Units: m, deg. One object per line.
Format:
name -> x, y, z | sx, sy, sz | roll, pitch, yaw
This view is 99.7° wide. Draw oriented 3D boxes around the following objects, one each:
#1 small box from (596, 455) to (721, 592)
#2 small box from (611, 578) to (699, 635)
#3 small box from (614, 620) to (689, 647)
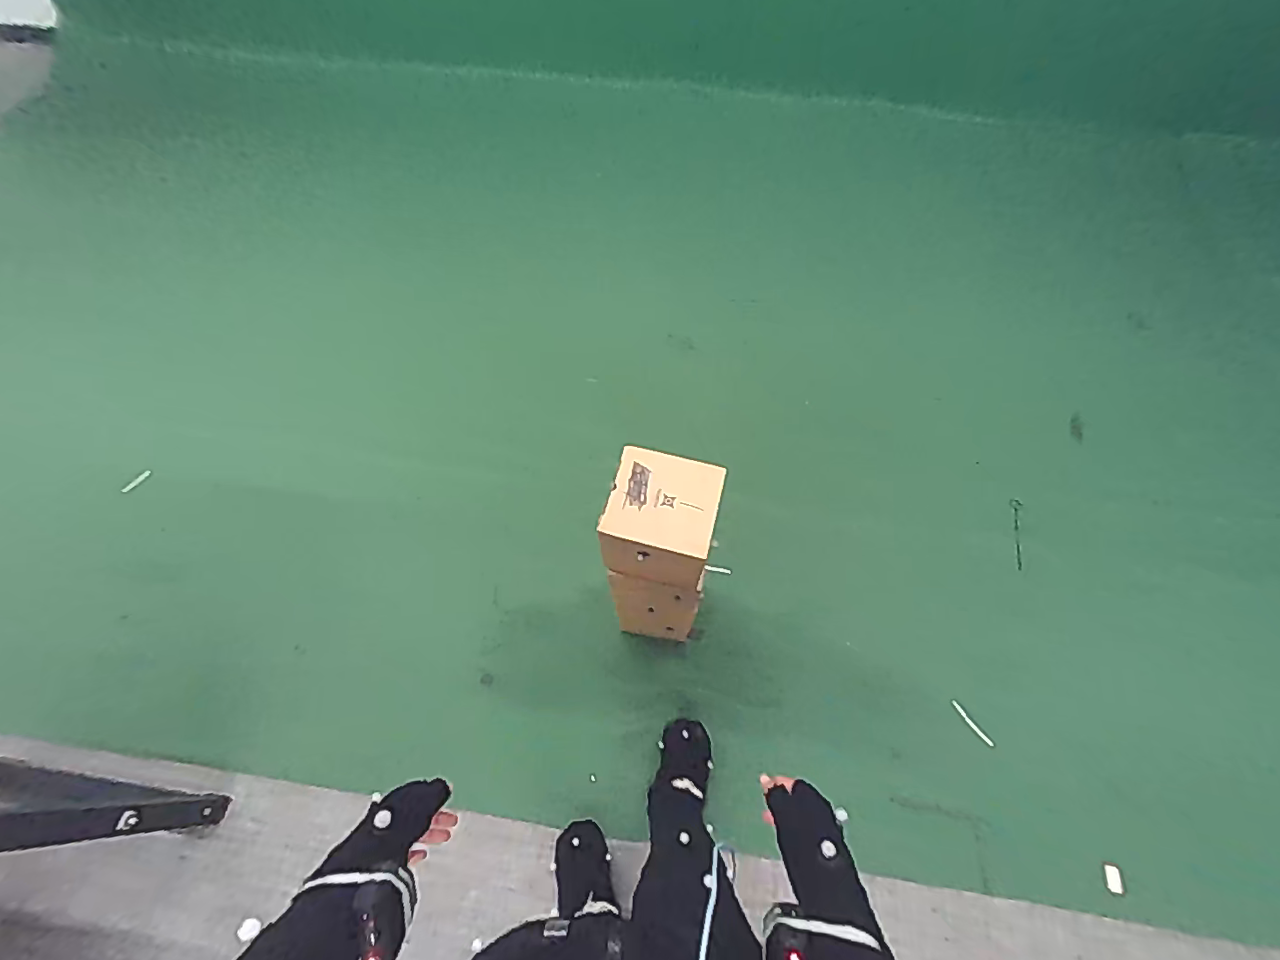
small box -> 0.033, 0.080, 0.931 | 0.179, 0.176, 0.168 | 11, 62, 6
small box -> 0.039, 0.241, 1.217 | 0.179, 0.176, 0.168 | 10, 62, 5
small box -> 0.037, 0.313, 1.363 | 0.179, 0.176, 0.168 | 10, 61, 4
